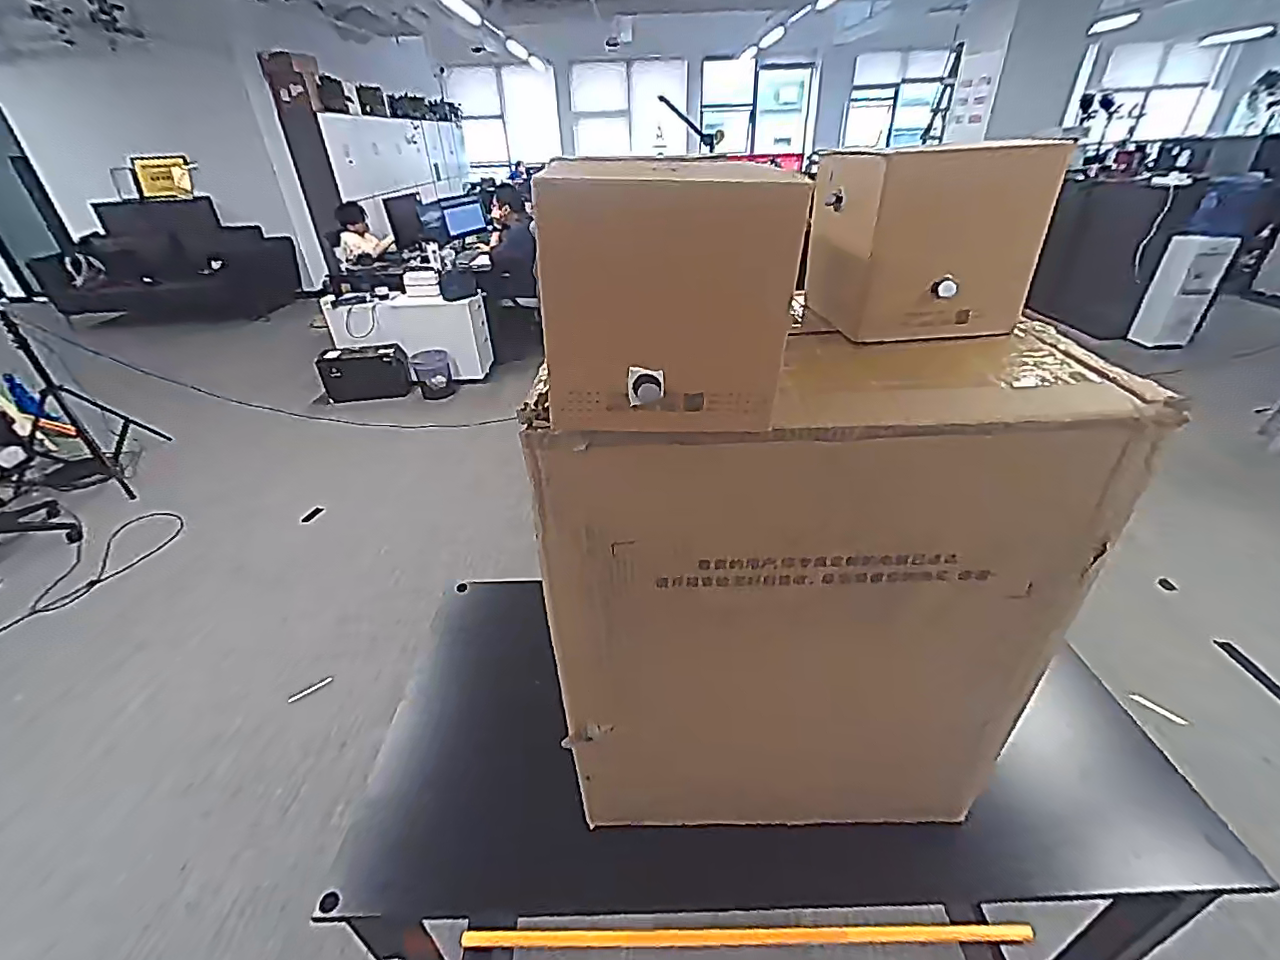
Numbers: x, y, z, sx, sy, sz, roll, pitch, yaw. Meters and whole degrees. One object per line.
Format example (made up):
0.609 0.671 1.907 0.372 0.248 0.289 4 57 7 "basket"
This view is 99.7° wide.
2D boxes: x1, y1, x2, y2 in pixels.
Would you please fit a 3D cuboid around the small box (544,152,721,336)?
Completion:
-0.008 -0.265 0.604 0.168 0.176 0.179 -3 30 -1 "small box"

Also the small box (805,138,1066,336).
0.285 -0.259 0.575 0.168 0.176 0.179 -4 31 -1 "small box"
